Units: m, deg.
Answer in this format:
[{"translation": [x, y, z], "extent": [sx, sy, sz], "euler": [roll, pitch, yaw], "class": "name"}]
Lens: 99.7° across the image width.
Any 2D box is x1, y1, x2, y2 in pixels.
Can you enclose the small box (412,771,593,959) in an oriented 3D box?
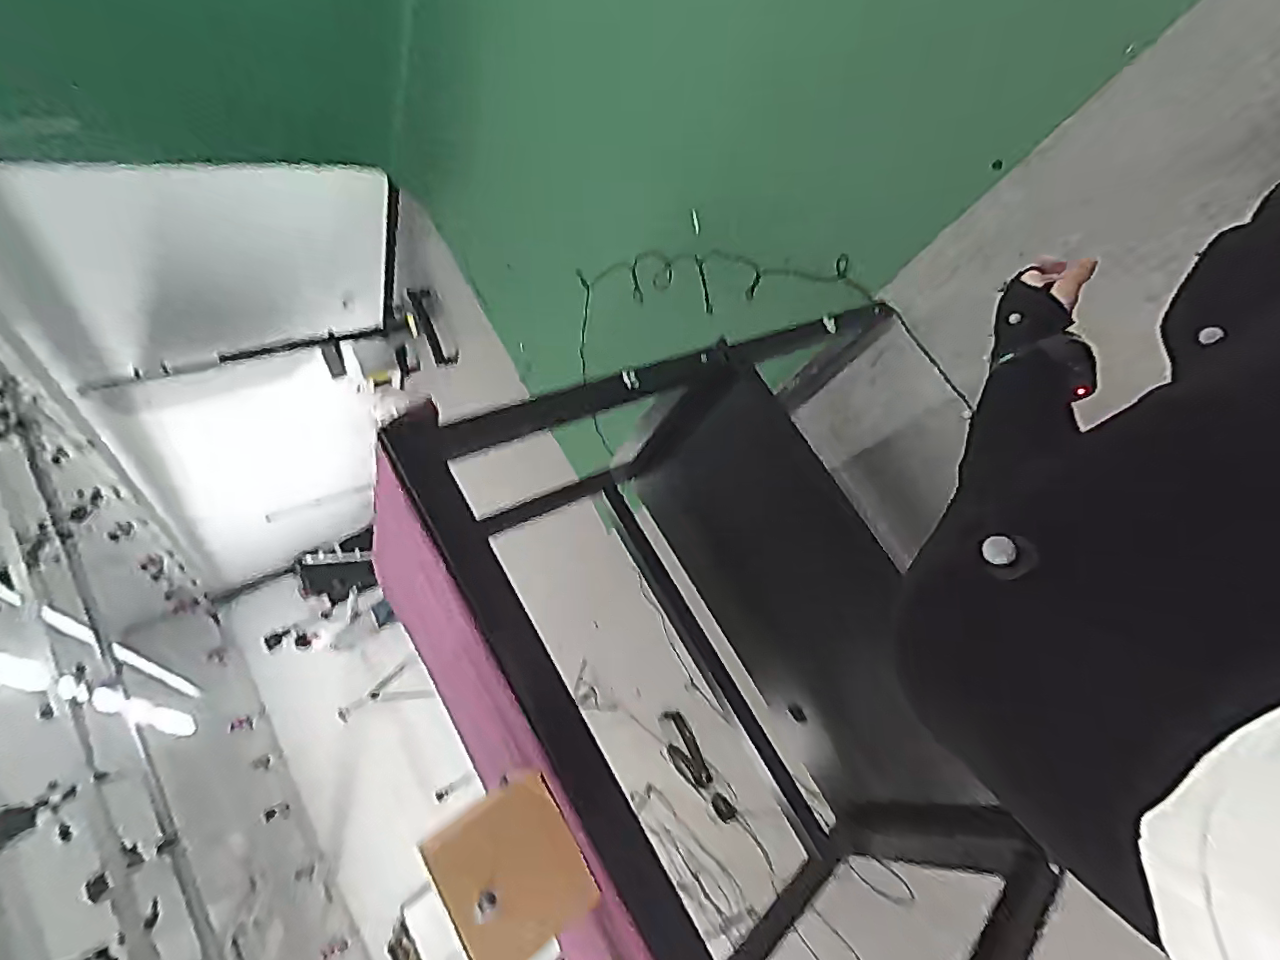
[{"translation": [-0.188, 0.527, 0.731], "extent": [0.179, 0.176, 0.168], "euler": [58, 145, 14], "class": "small box"}]
